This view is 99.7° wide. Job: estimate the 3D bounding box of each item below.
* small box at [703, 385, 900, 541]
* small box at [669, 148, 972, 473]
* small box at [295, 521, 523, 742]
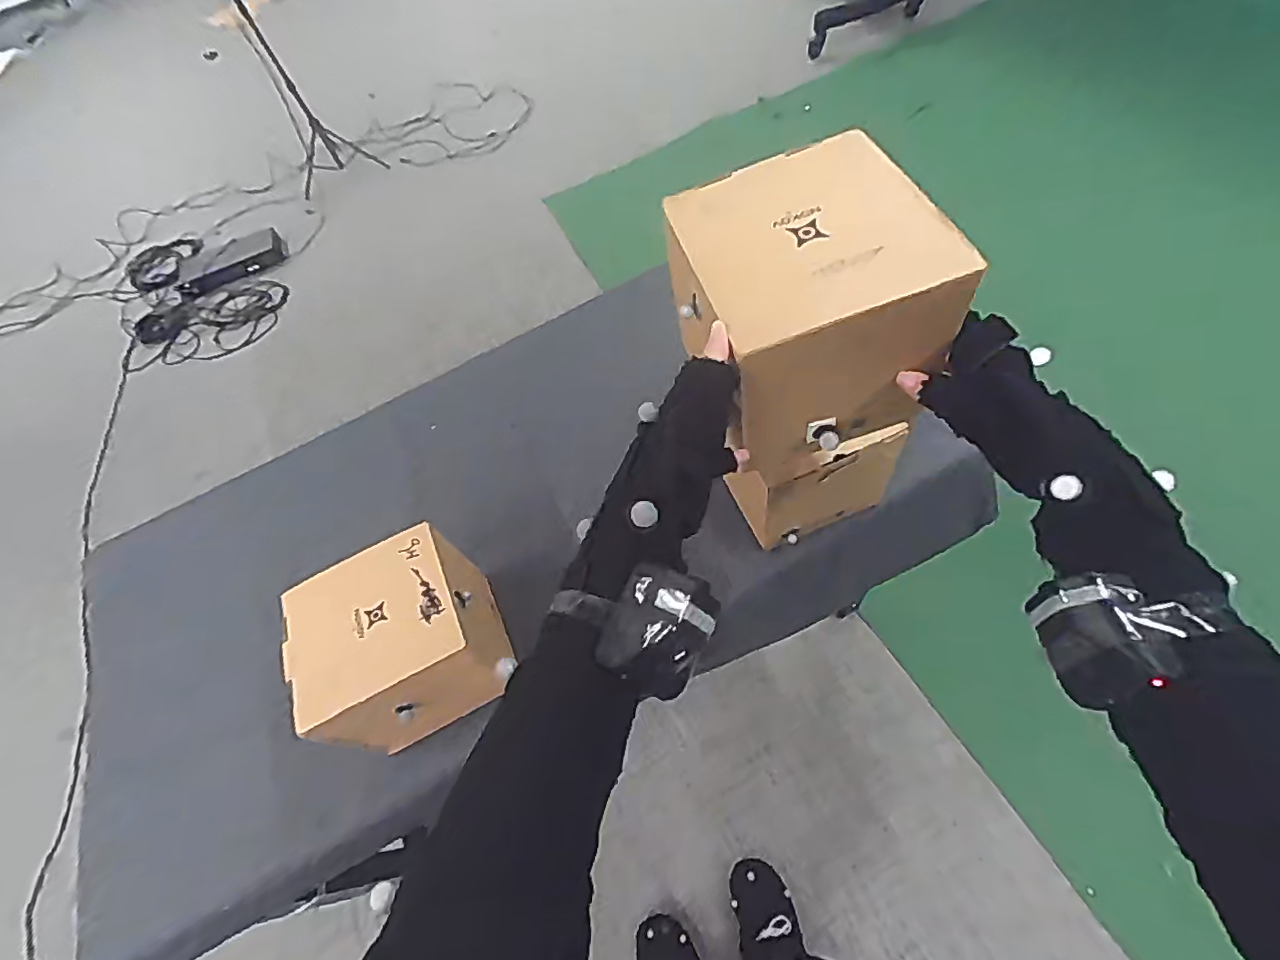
[{"bbox_3d":[0.194,-0.042,0.691,0.168,0.176,0.179,-22,57,-3],"label":"small box"},{"bbox_3d":[0.133,-0.135,0.464,0.168,0.176,0.179,-18,60,2],"label":"small box"},{"bbox_3d":[-0.265,0.186,0.640,0.179,0.176,0.168,-27,57,-7],"label":"small box"}]
